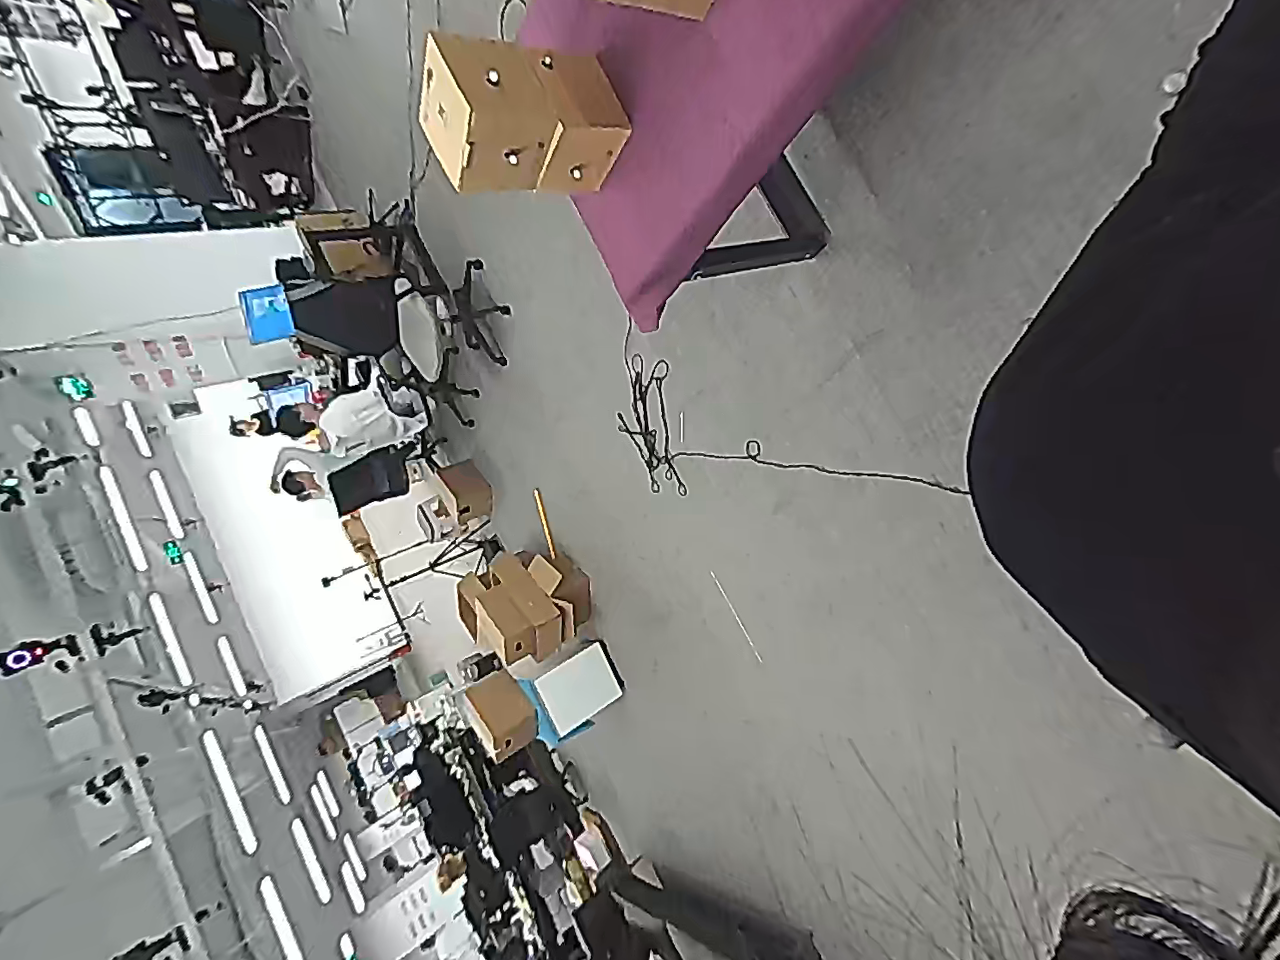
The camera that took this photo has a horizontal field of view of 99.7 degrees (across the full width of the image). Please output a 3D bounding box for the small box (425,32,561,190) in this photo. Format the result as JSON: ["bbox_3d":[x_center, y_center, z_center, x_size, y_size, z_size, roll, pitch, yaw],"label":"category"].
[{"bbox_3d":[-0.270,-0.670,0.992,0.179,0.176,0.168,61,146,8],"label":"small box"}]

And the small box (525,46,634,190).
[{"bbox_3d":[-0.139,-0.716,1.081,0.168,0.176,0.179,-32,83,57],"label":"small box"}]

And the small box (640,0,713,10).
[{"bbox_3d":[0.050,-0.815,0.753,0.179,0.176,0.168,-33,82,56],"label":"small box"}]
